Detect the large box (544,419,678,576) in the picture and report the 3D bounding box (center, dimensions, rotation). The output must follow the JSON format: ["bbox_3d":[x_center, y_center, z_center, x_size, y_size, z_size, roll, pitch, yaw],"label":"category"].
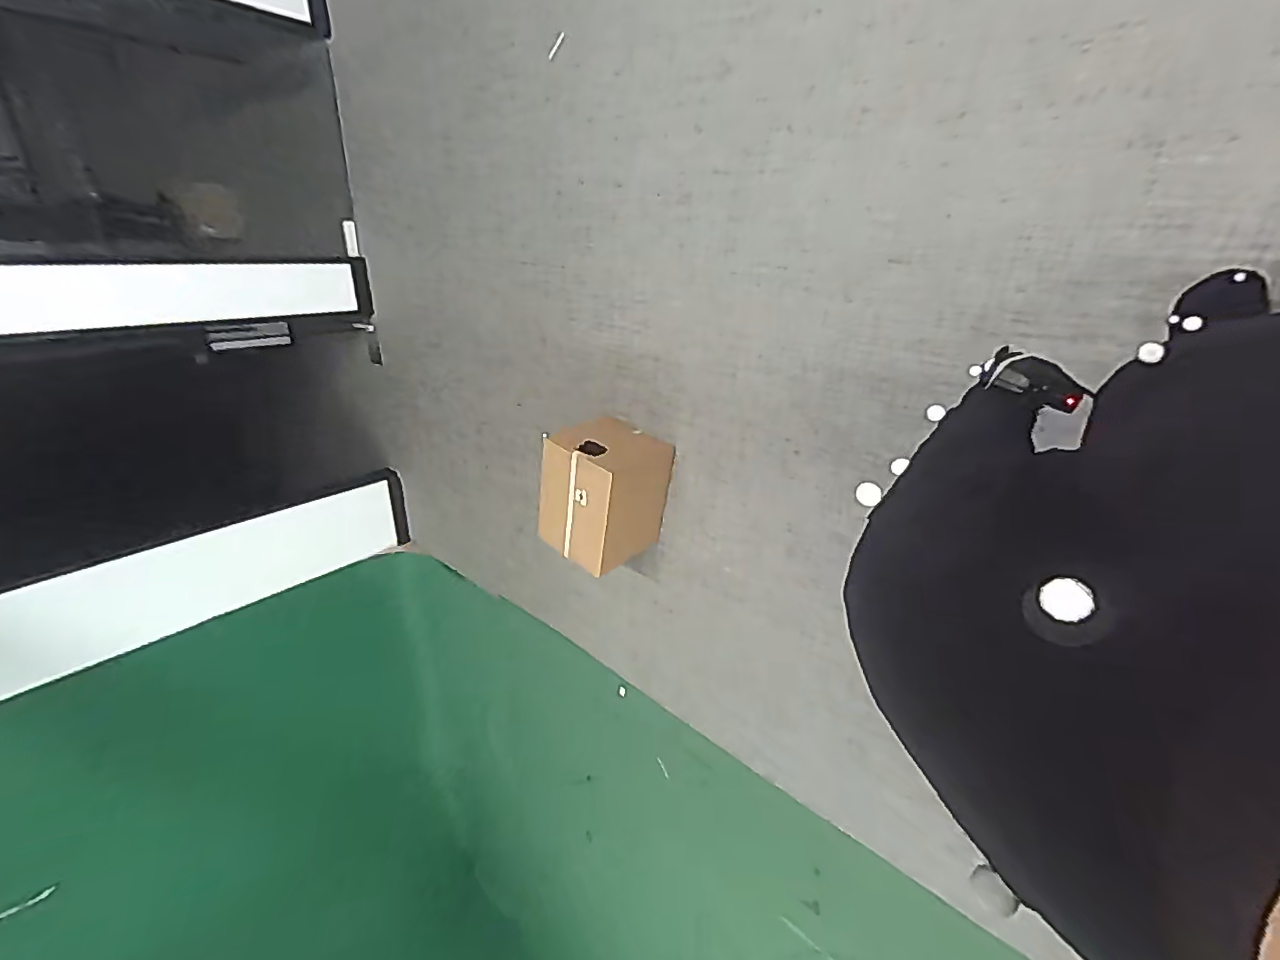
[{"bbox_3d":[-0.105,0.047,1.861,0.320,0.320,0.408,28,123,32],"label":"large box"}]
